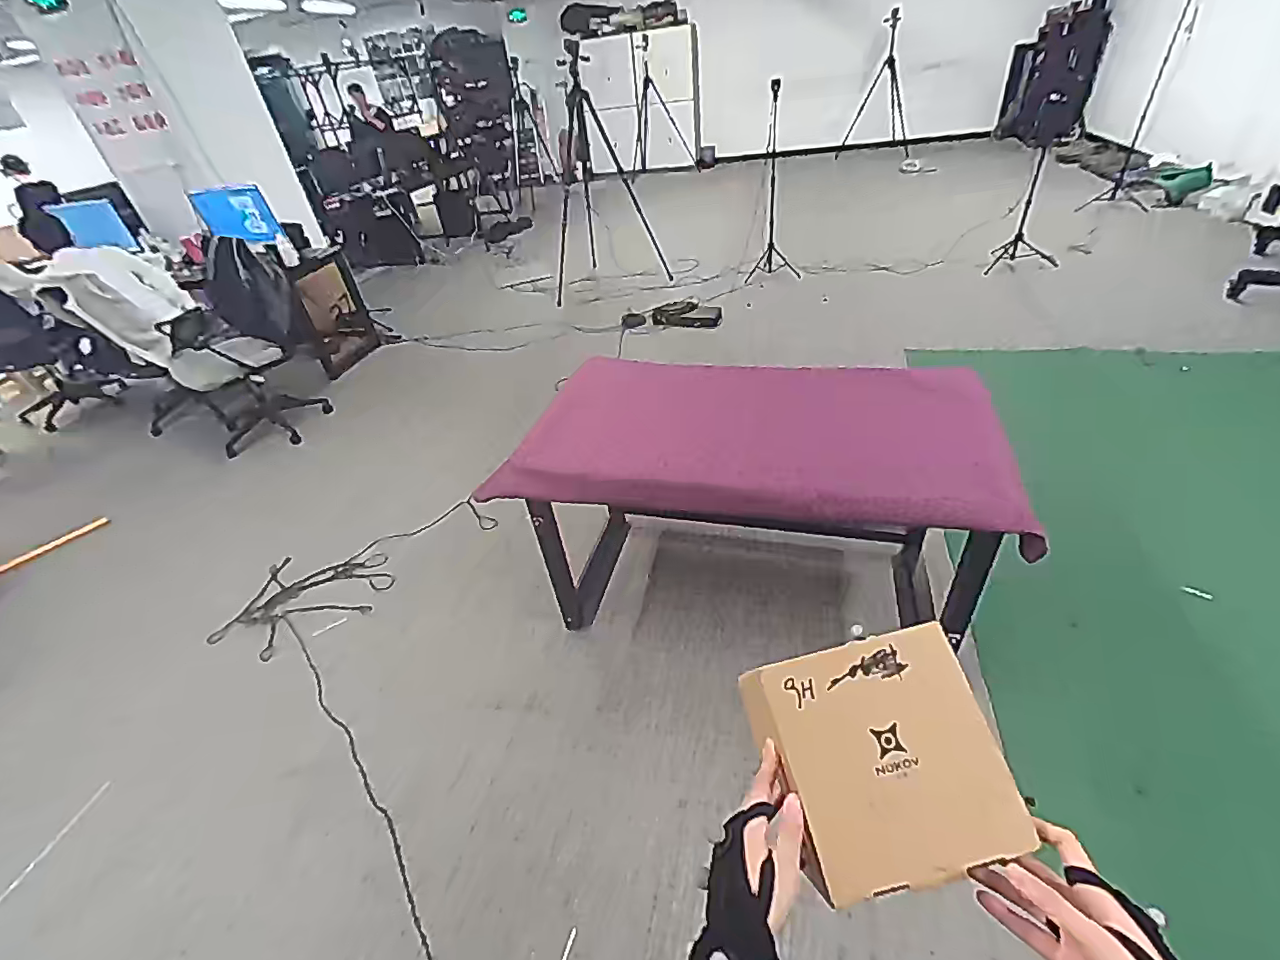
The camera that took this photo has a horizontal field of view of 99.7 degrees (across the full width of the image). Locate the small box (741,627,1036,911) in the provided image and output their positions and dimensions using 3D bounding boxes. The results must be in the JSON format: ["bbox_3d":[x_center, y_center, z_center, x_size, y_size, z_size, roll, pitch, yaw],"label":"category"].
[{"bbox_3d":[0.203,0.250,0.503,0.168,0.176,0.179,-14,68,-2],"label":"small box"}]
